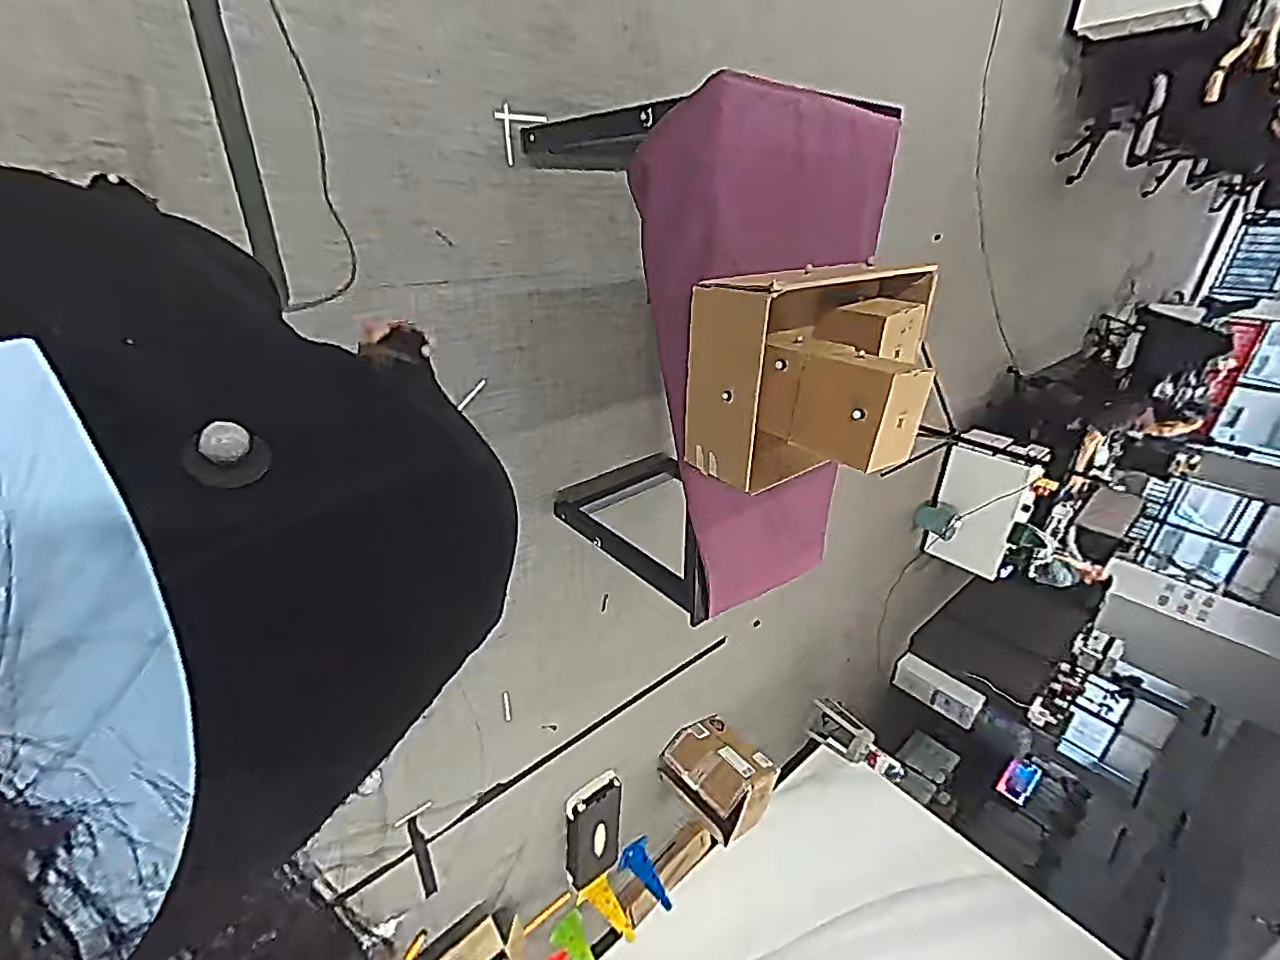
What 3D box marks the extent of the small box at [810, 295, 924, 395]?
[{"bbox_3d":[0.513,-0.315,1.244,0.168,0.176,0.179,-23,125,-33],"label":"small box"}]
